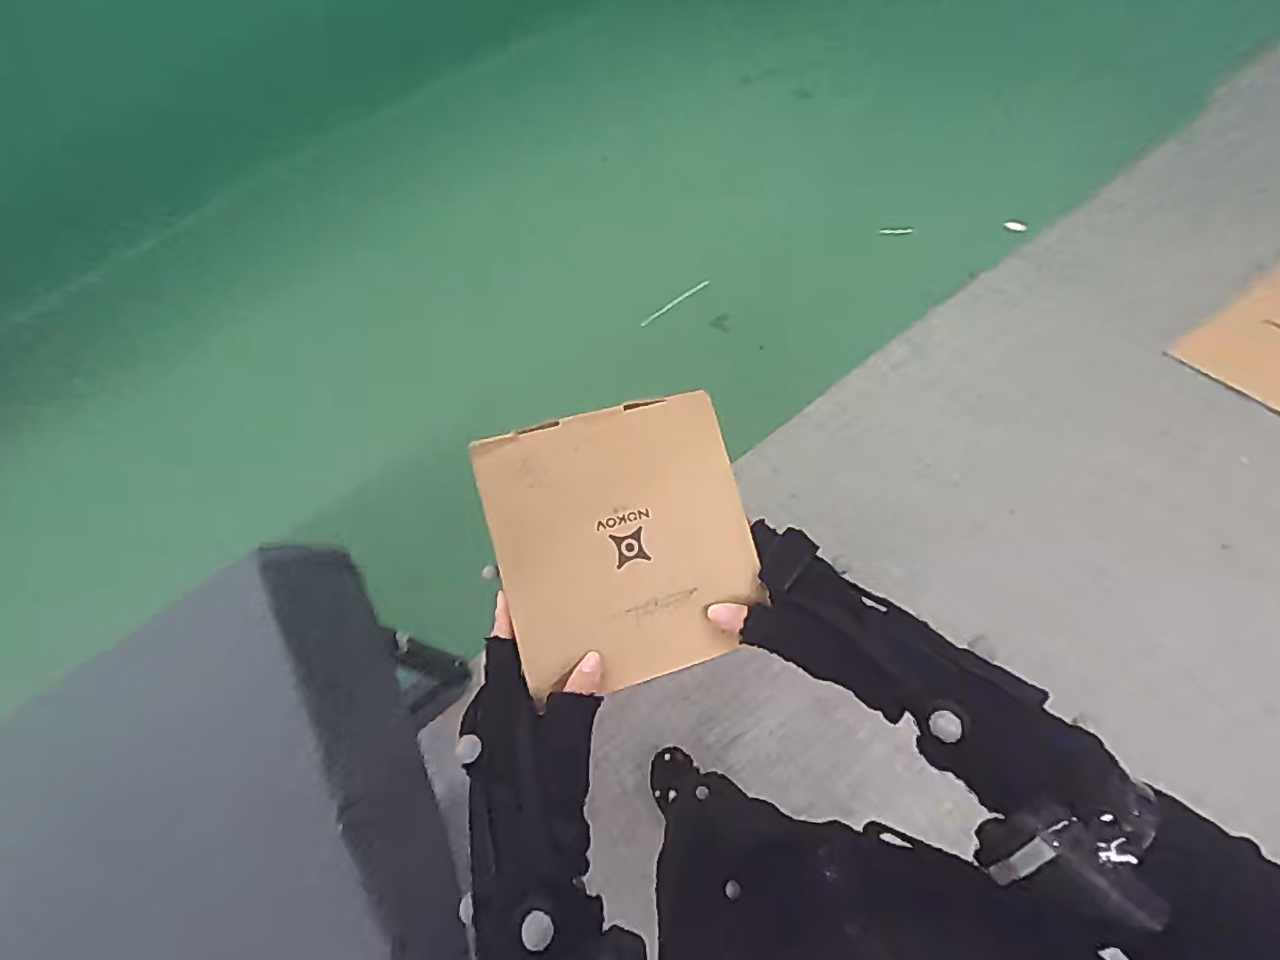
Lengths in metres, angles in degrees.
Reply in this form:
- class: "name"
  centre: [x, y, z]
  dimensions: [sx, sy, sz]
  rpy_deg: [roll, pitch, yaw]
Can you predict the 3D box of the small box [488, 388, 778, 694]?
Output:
- class: "small box"
  centre: [-0.017, 0.046, 0.437]
  dimensions: [0.168, 0.176, 0.179]
  rpy_deg: [-14, 84, -11]
